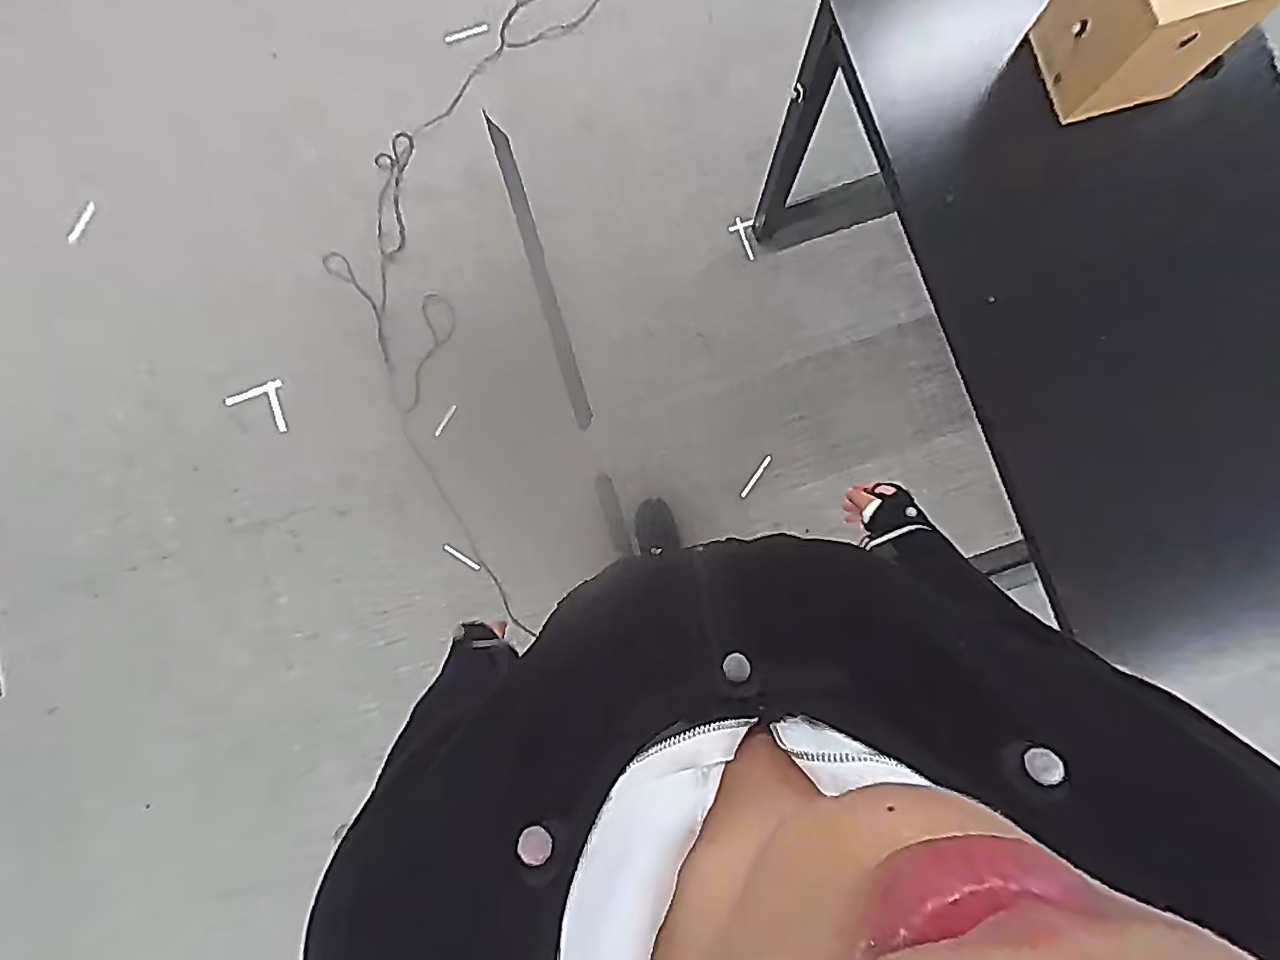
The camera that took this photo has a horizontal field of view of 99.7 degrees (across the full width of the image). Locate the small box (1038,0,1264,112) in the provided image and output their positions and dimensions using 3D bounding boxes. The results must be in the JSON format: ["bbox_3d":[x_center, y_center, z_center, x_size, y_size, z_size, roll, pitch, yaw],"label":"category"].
[{"bbox_3d":[0.697,-0.655,0.745,0.179,0.176,0.168,-15,84,1],"label":"small box"}]
